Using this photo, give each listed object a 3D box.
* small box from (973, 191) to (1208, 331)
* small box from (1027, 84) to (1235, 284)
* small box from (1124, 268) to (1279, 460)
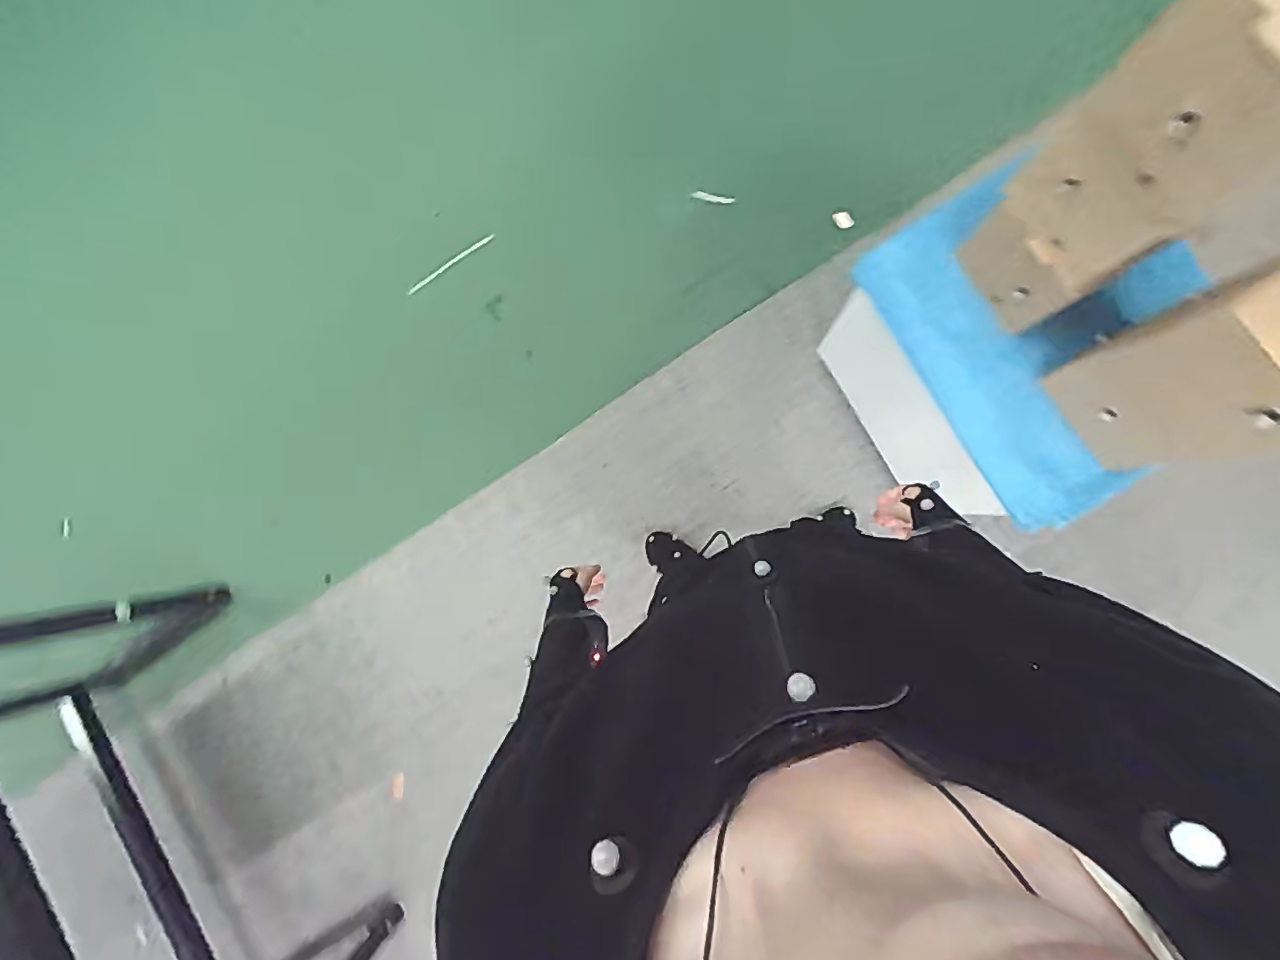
[{"bbox_3d":[0.625,-0.344,0.785,0.179,0.176,0.168,-29,85,5],"label":"small box"},{"bbox_3d":[0.597,-0.362,0.626,0.179,0.176,0.168,-28,84,5],"label":"small box"},{"bbox_3d":[0.711,-0.133,0.594,0.168,0.176,0.179,-32,82,5],"label":"small box"}]
